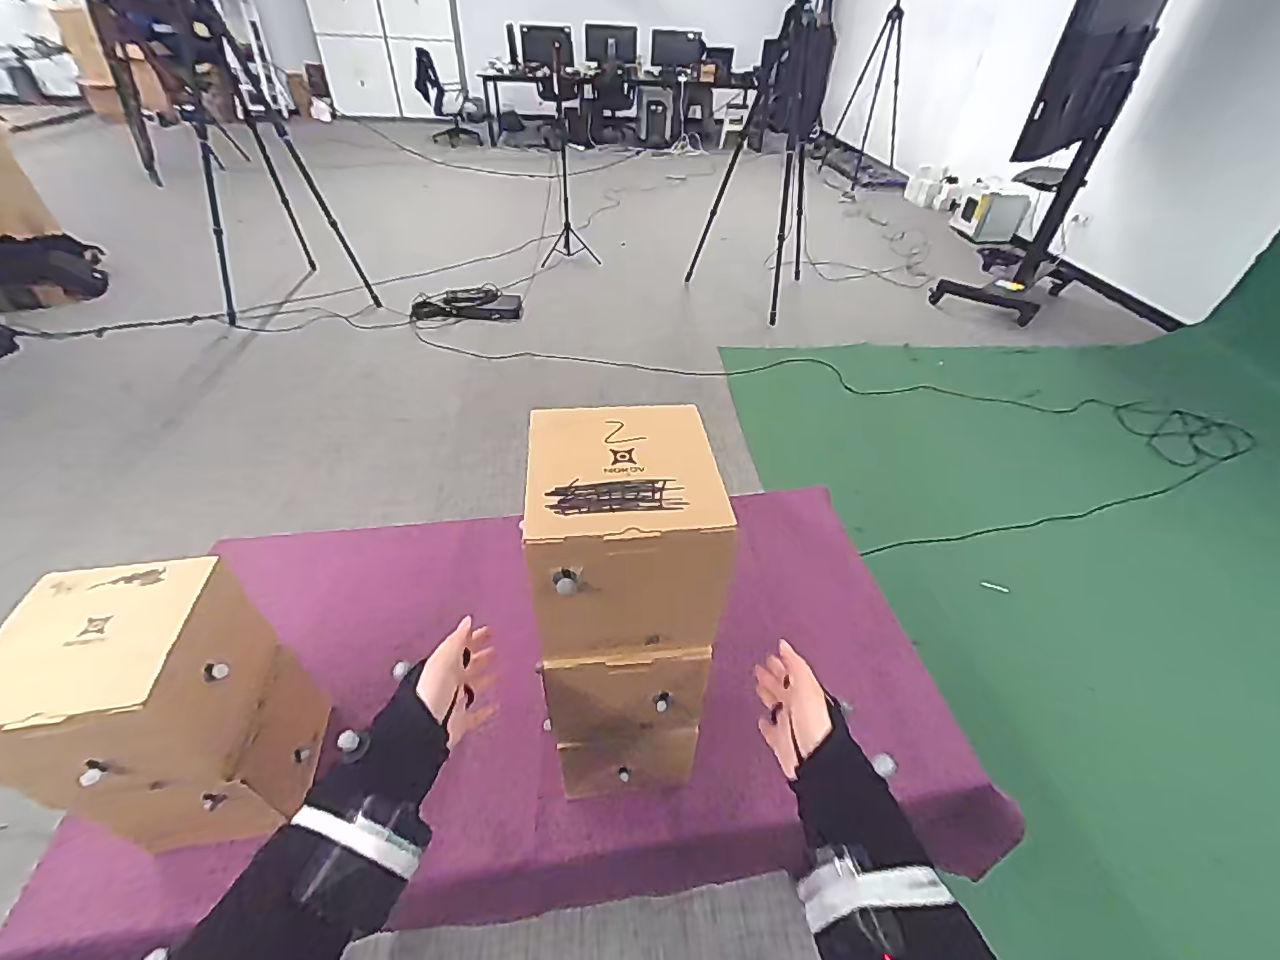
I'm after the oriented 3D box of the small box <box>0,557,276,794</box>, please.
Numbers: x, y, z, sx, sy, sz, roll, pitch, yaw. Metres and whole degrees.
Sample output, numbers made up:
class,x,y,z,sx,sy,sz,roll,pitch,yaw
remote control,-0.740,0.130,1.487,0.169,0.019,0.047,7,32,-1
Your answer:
class,x,y,z,sx,sy,sz,roll,pitch,yaw
small box,-0.525,0.209,0.574,0.168,0.176,0.179,-5,42,-10

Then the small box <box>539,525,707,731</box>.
class,x,y,z,sx,sy,sz,roll,pitch,yaw
small box,-0.022,0.174,0.630,0.168,0.176,0.179,-2,41,-5

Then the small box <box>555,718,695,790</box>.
class,x,y,z,sx,sy,sz,roll,pitch,yaw
small box,-0.026,0.300,0.735,0.168,0.176,0.179,-3,42,-6

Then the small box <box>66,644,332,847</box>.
class,x,y,z,sx,sy,sz,roll,pitch,yaw
small box,-0.525,0.334,0.681,0.179,0.176,0.168,-5,42,-9
